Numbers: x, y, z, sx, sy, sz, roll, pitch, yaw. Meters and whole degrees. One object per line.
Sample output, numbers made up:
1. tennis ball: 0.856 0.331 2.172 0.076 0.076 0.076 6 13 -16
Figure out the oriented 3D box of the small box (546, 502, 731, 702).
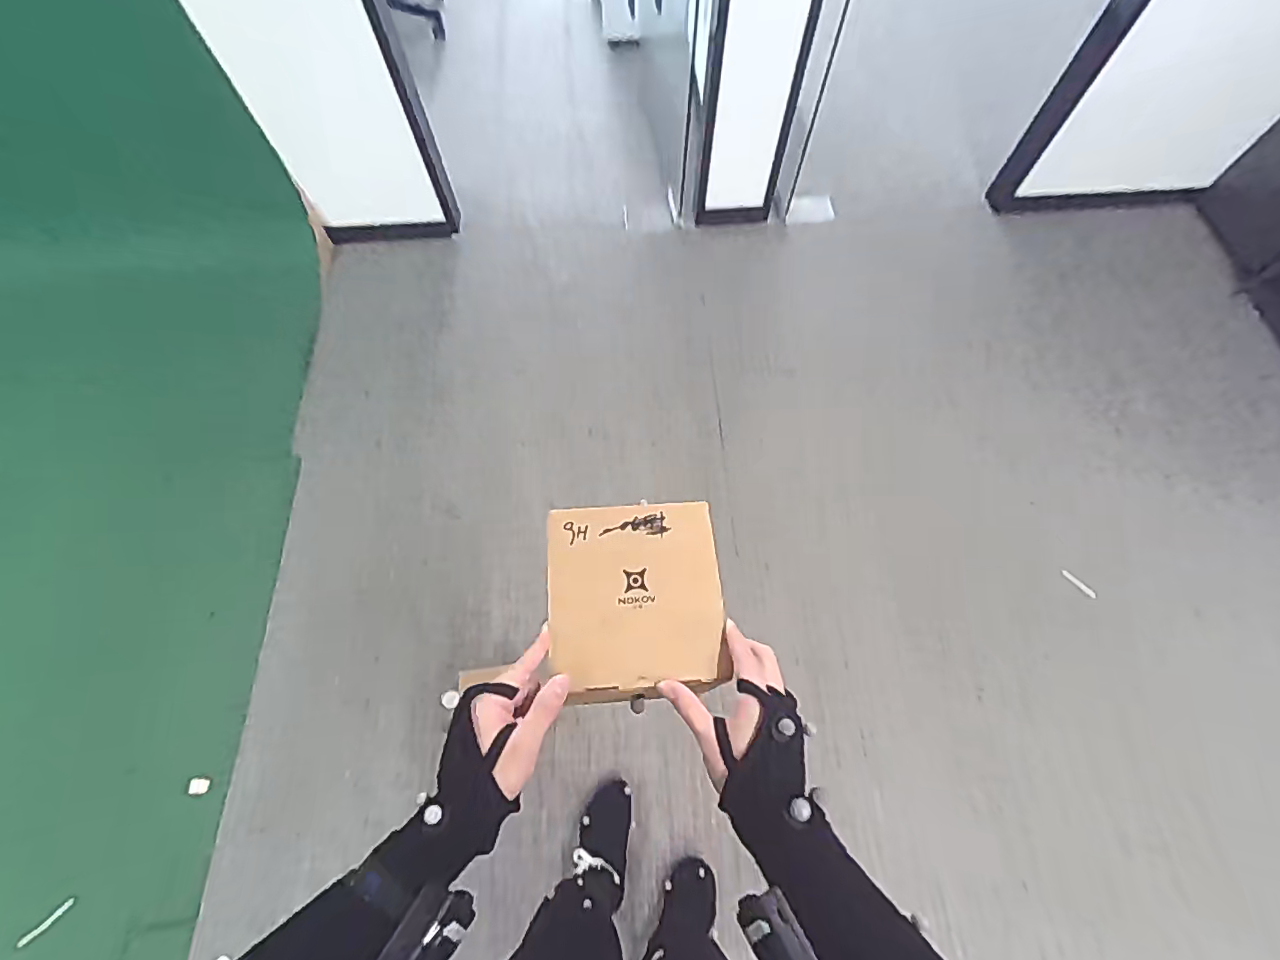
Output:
1. small box: -0.009 0.138 0.576 0.168 0.176 0.179 -3 66 -5
